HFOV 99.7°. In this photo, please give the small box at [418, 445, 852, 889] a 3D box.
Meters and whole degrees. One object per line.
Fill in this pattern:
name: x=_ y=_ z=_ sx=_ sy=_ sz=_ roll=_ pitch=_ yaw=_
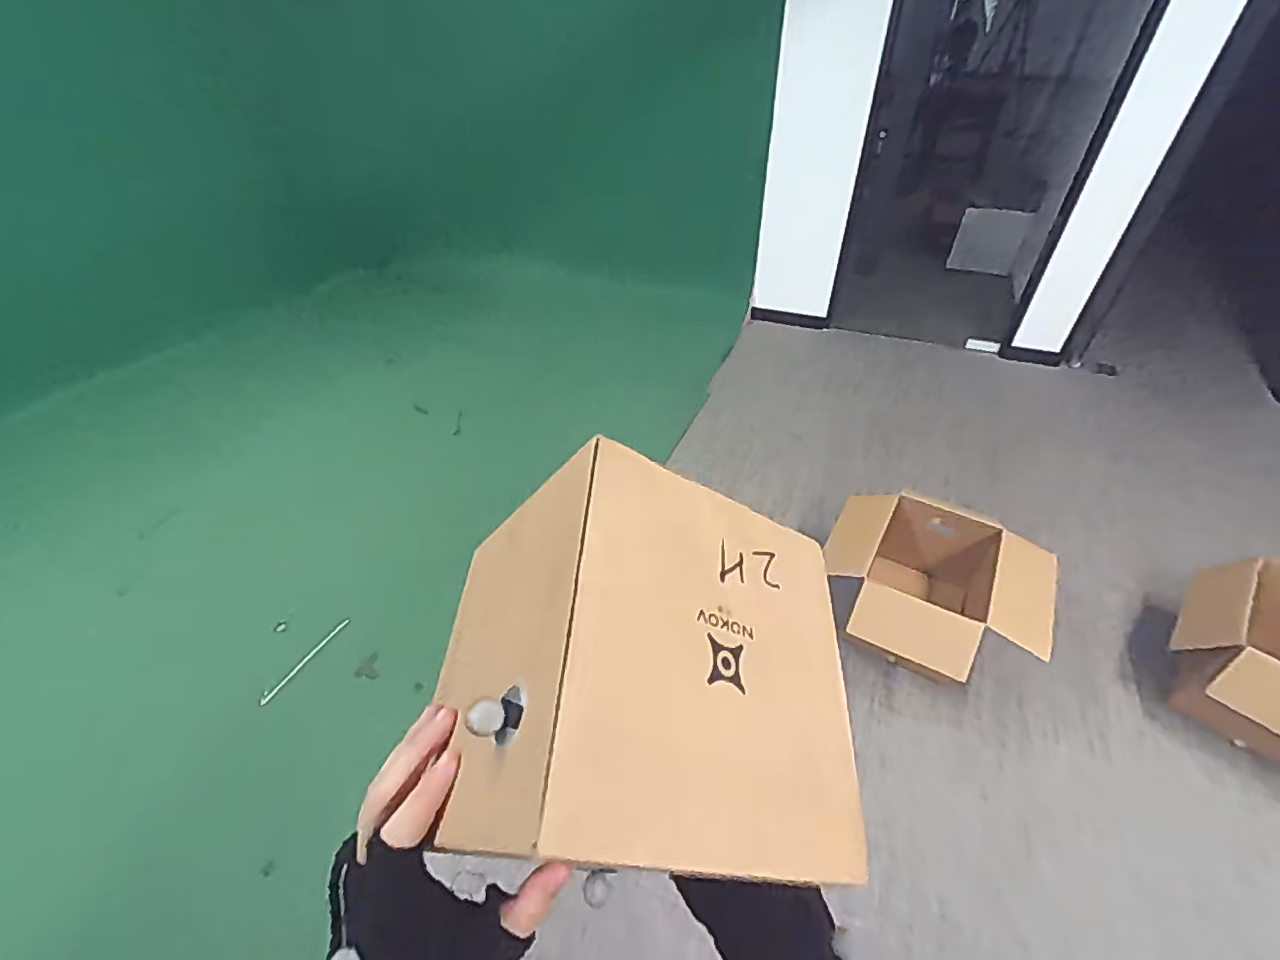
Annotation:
small box: x=-0.010 y=0.117 z=0.315 sx=0.168 sy=0.176 sz=0.179 roll=25 pitch=49 yaw=-25
